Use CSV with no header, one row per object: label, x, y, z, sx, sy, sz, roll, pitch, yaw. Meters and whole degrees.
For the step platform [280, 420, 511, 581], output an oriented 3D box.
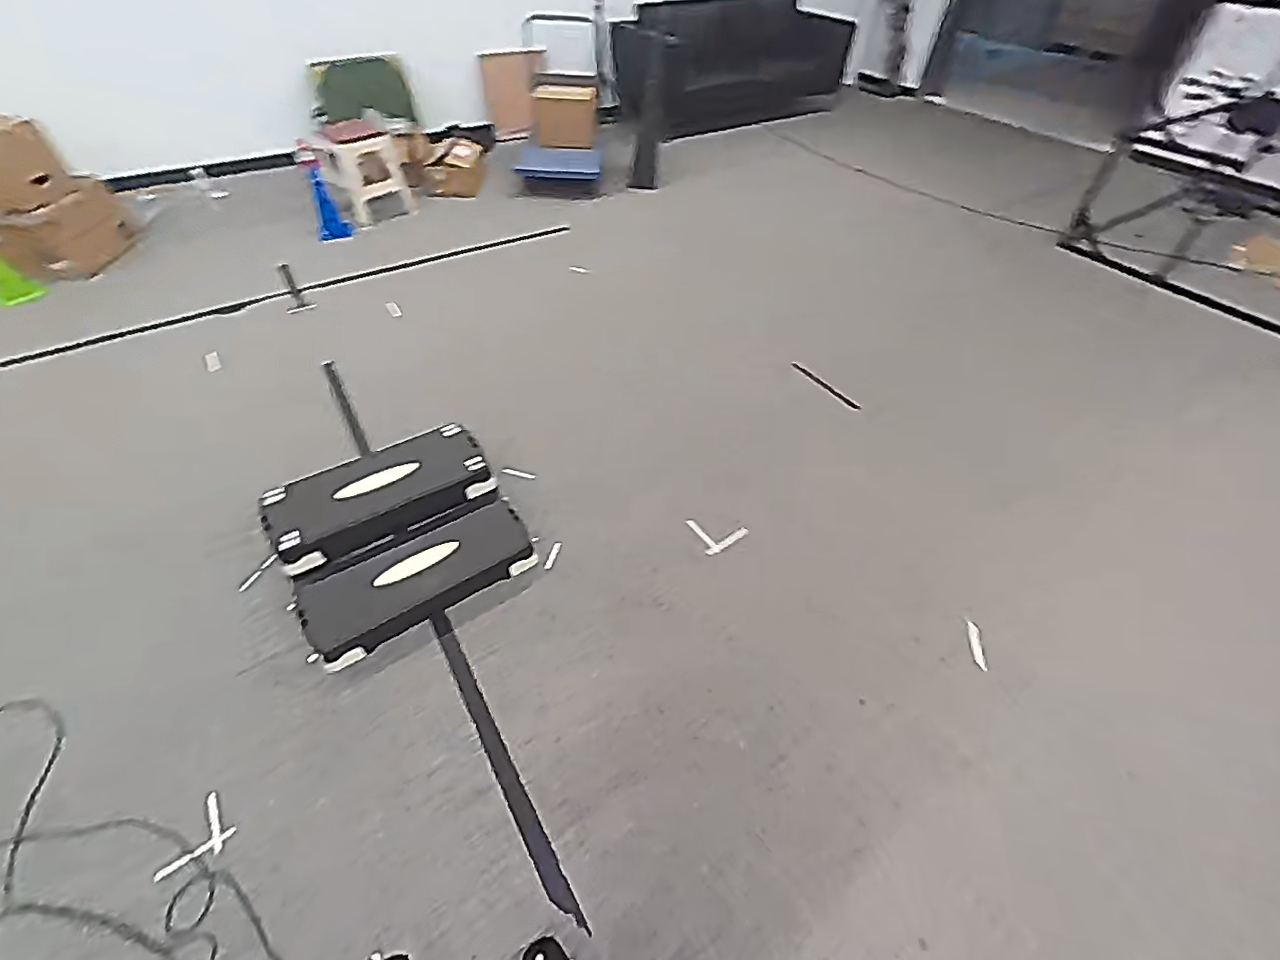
step platform,-0.793,0.046,1.797,0.684,0.204,0.286,-25,54,-25
